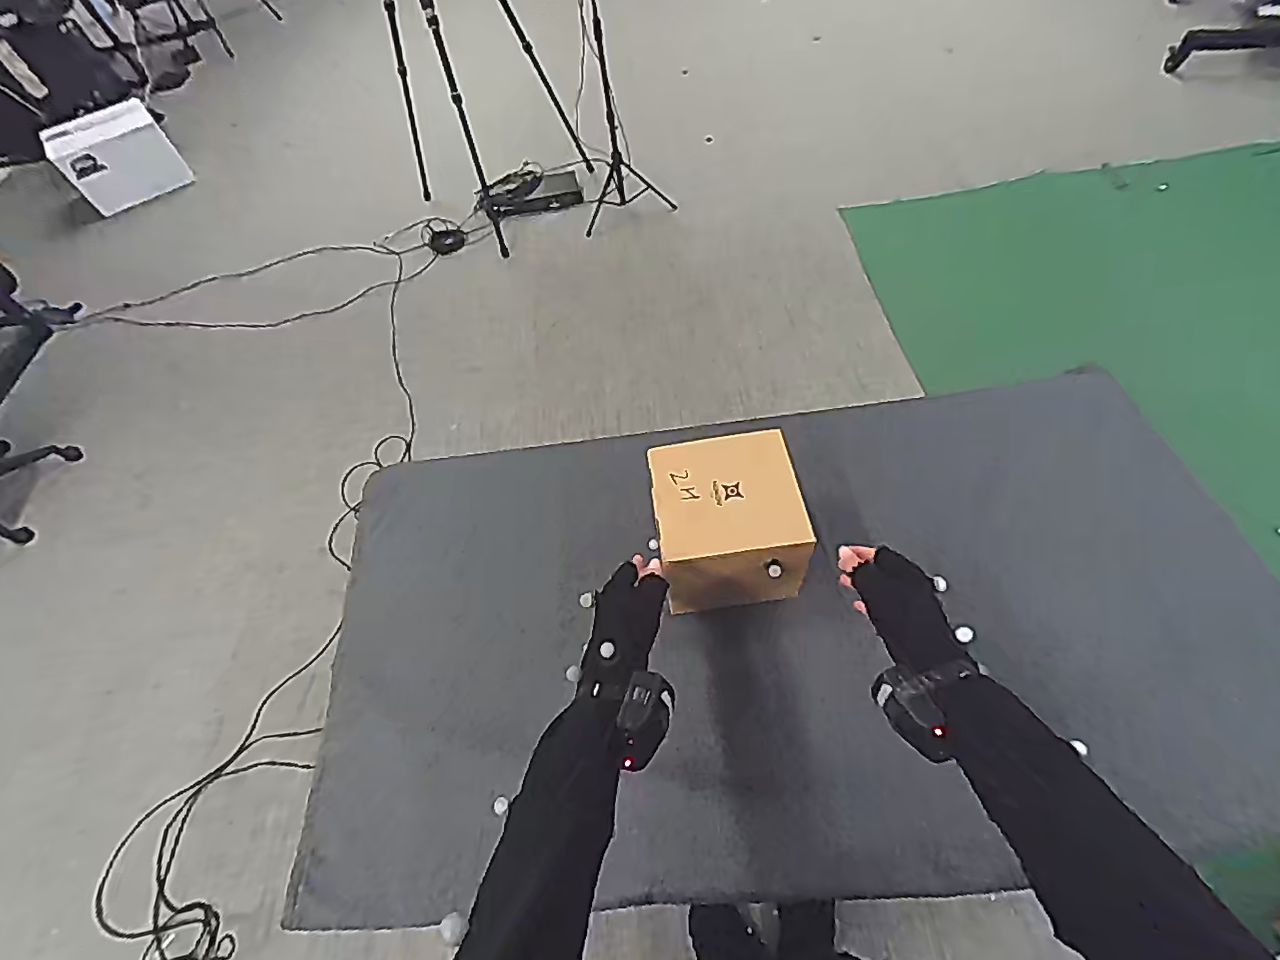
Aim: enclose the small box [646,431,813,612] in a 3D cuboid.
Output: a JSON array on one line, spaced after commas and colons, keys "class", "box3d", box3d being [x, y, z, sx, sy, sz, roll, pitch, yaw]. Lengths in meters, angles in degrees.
[{"class": "small box", "box3d": [0.108, 0.060, 0.711, 0.179, 0.176, 0.168, -9, 56, 2]}]
